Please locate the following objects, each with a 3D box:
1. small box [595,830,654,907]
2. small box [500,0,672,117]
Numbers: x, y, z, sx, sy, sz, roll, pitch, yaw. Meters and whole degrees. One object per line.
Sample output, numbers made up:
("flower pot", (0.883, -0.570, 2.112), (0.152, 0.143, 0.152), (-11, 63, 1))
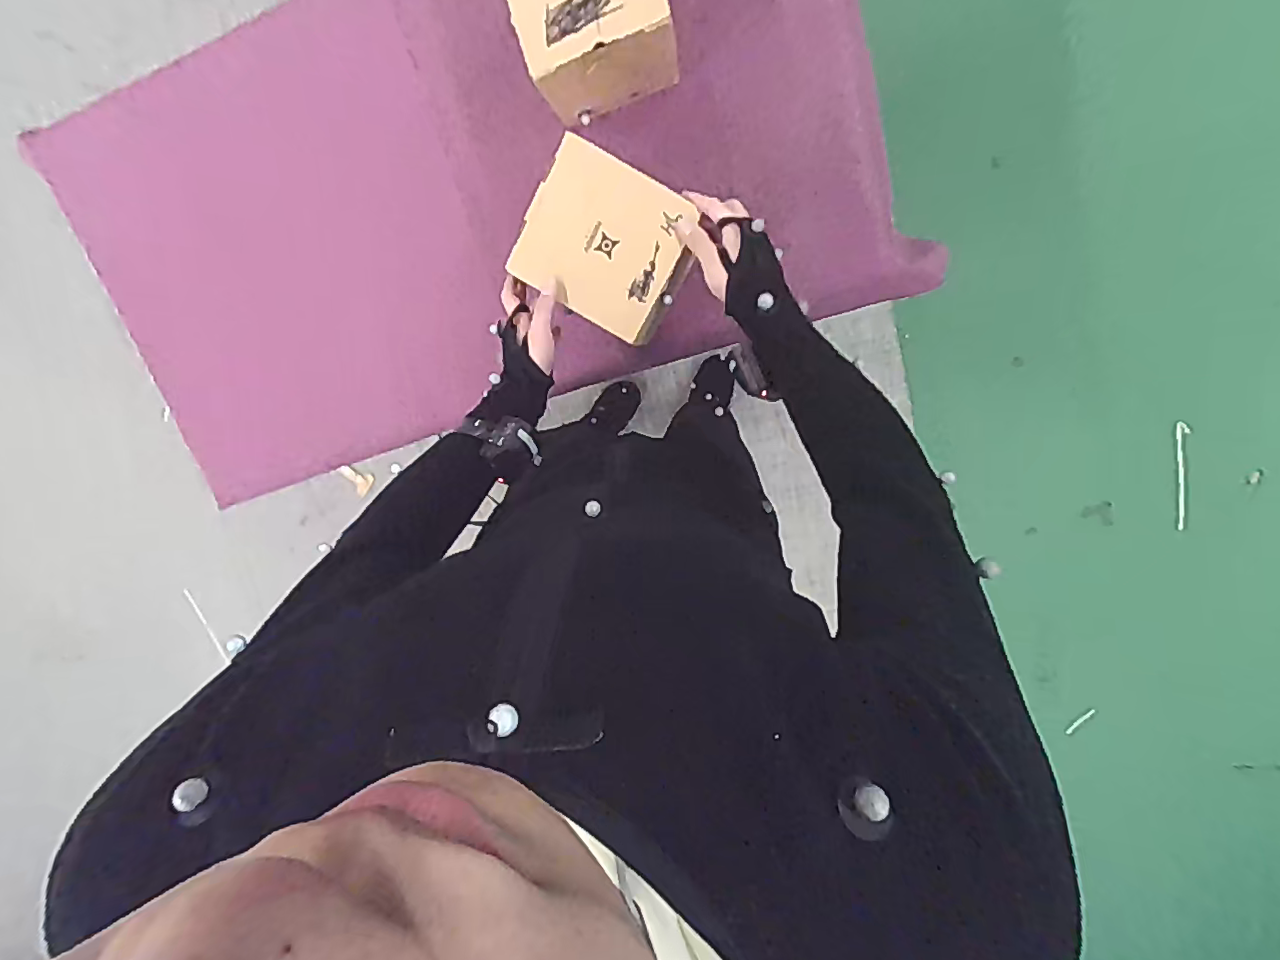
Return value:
("small box", (-0.049, 1.416, 1.977), (0.179, 0.176, 0.168), (-12, 105, 11))
("small box", (-0.064, -0.561, 0.634), (0.168, 0.176, 0.179), (-15, 104, 11))
